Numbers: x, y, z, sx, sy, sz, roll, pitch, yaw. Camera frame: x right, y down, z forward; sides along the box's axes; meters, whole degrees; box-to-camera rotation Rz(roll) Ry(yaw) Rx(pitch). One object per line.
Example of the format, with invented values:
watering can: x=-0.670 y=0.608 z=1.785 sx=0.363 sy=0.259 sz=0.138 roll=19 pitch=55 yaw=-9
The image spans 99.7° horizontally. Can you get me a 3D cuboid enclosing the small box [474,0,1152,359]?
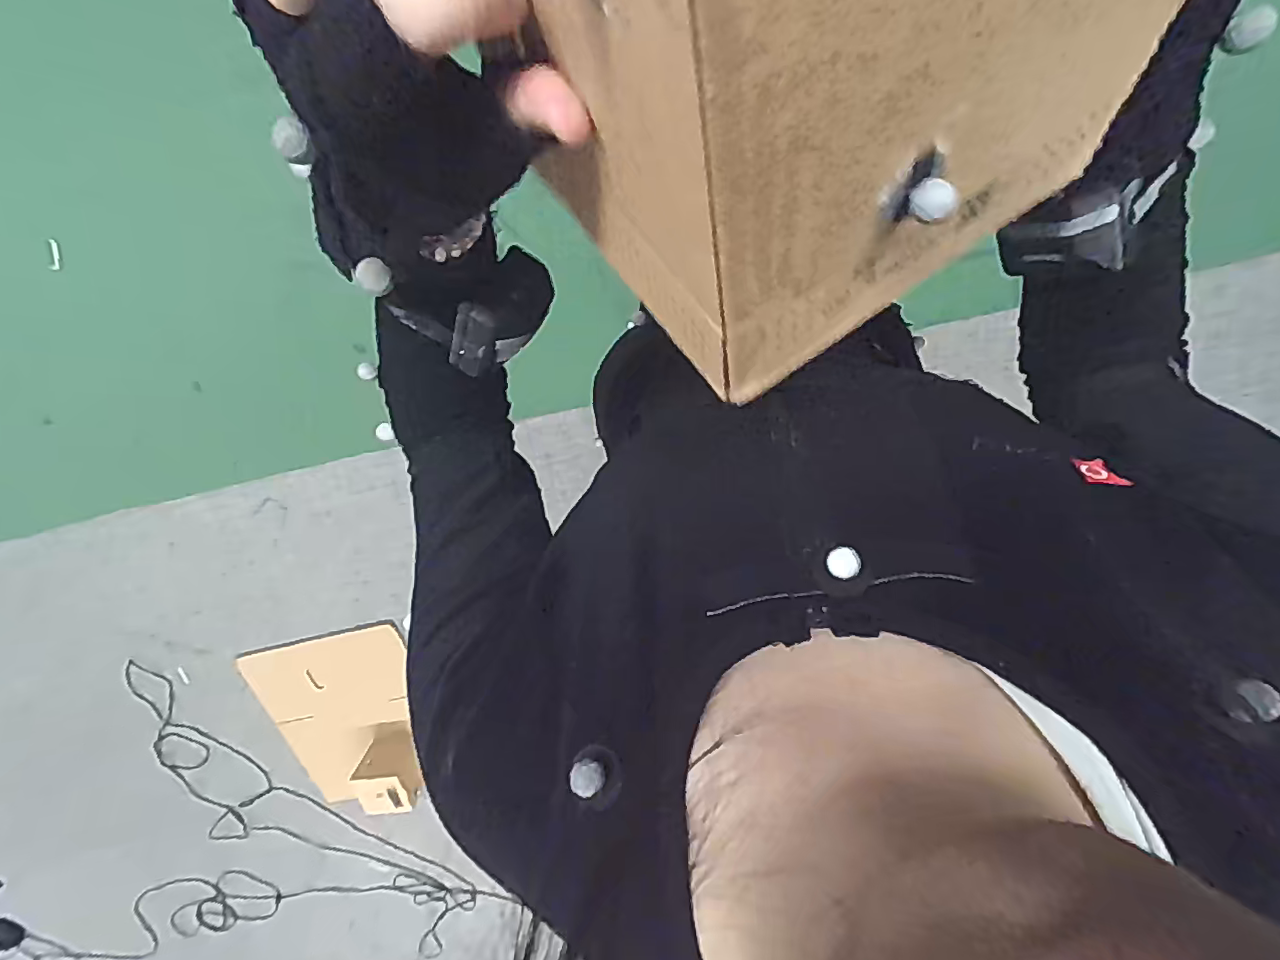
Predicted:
small box: x=0.039 y=-0.174 z=0.169 sx=0.168 sy=0.176 sz=0.179 roll=-34 pitch=70 yaw=0
